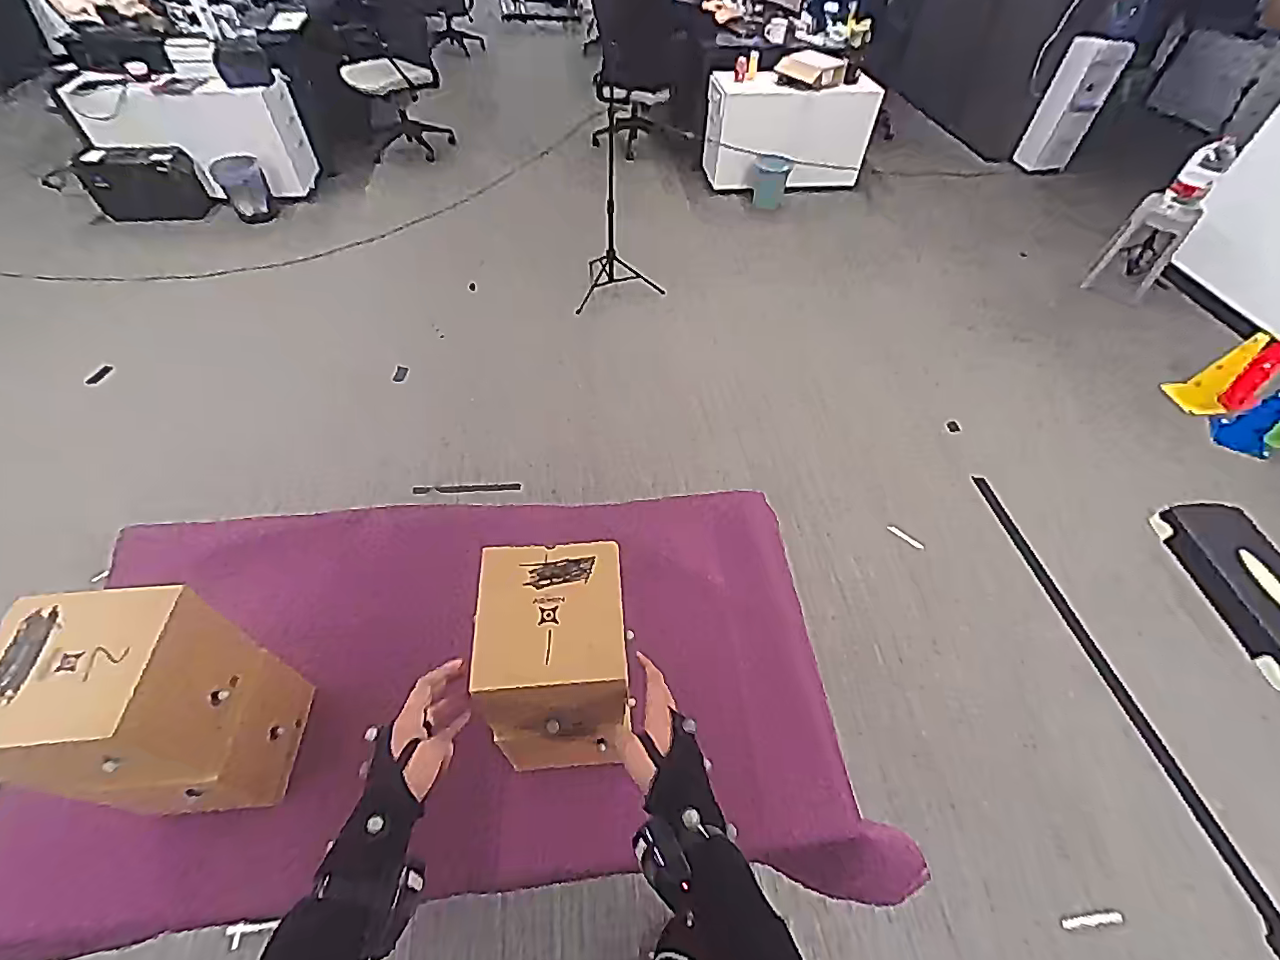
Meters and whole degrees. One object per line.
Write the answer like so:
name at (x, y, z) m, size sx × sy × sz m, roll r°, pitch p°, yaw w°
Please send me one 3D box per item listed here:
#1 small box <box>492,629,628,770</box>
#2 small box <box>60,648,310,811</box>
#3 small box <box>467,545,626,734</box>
small box at (-0.108, 0.313, 0.793) m, size 0.179 × 0.176 × 0.168 m, roll -2°, pitch 50°, yaw -5°
small box at (-0.593, 0.344, 0.741) m, size 0.179 × 0.176 × 0.168 m, roll -2°, pitch 50°, yaw -4°
small box at (-0.106, 0.199, 0.673) m, size 0.168 × 0.176 × 0.179 m, roll -2°, pitch 51°, yaw -4°
